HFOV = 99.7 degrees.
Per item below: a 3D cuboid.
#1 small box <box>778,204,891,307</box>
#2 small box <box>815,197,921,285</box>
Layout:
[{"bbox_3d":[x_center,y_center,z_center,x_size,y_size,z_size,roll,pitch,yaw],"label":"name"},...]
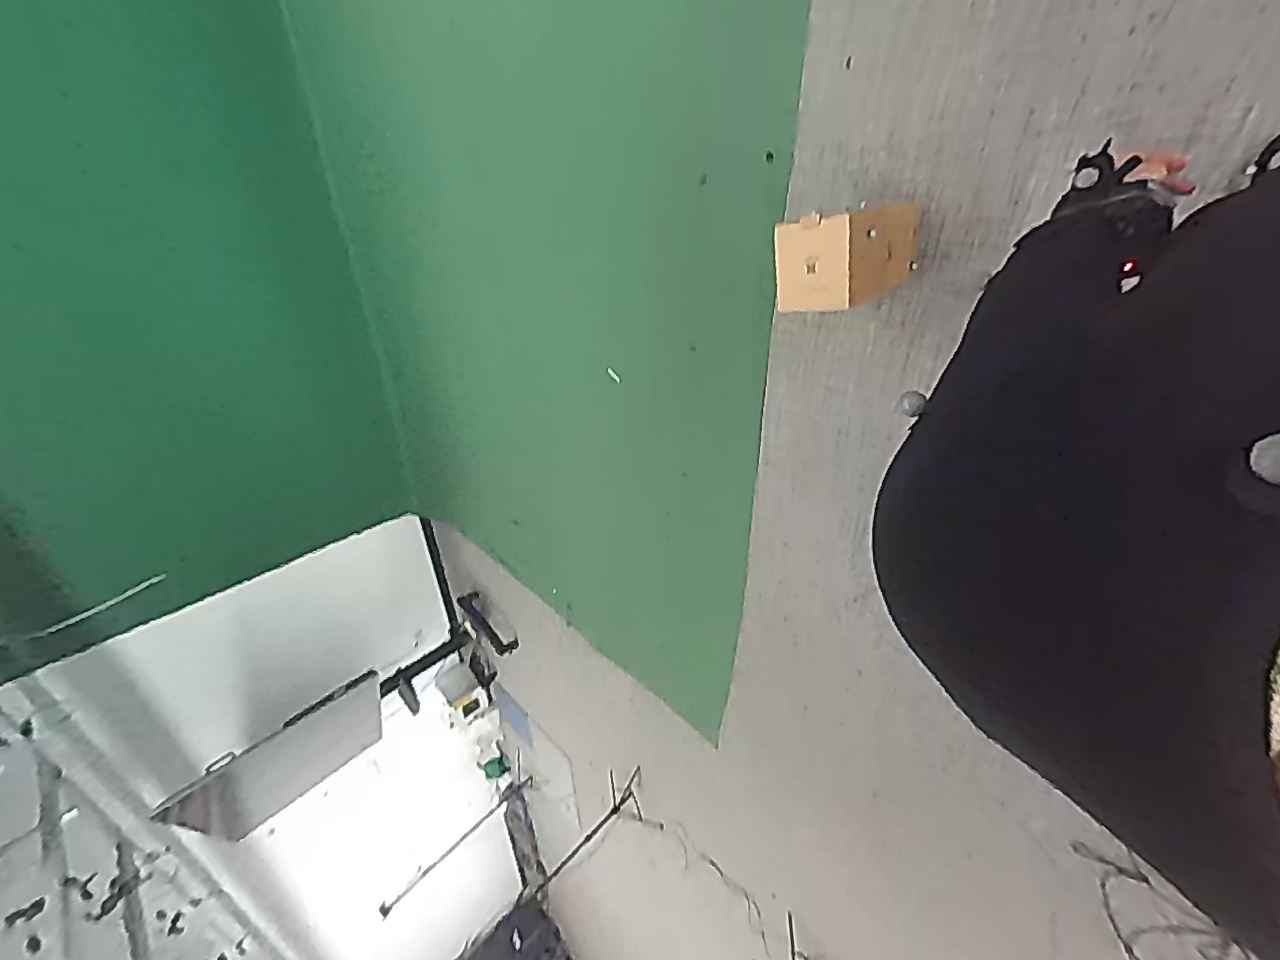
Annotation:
[{"bbox_3d":[0.409,-0.470,1.131,0.168,0.176,0.179,15,124,46],"label":"small box"},{"bbox_3d":[0.516,-0.539,1.232,0.179,0.176,0.168,18,125,44],"label":"small box"}]
